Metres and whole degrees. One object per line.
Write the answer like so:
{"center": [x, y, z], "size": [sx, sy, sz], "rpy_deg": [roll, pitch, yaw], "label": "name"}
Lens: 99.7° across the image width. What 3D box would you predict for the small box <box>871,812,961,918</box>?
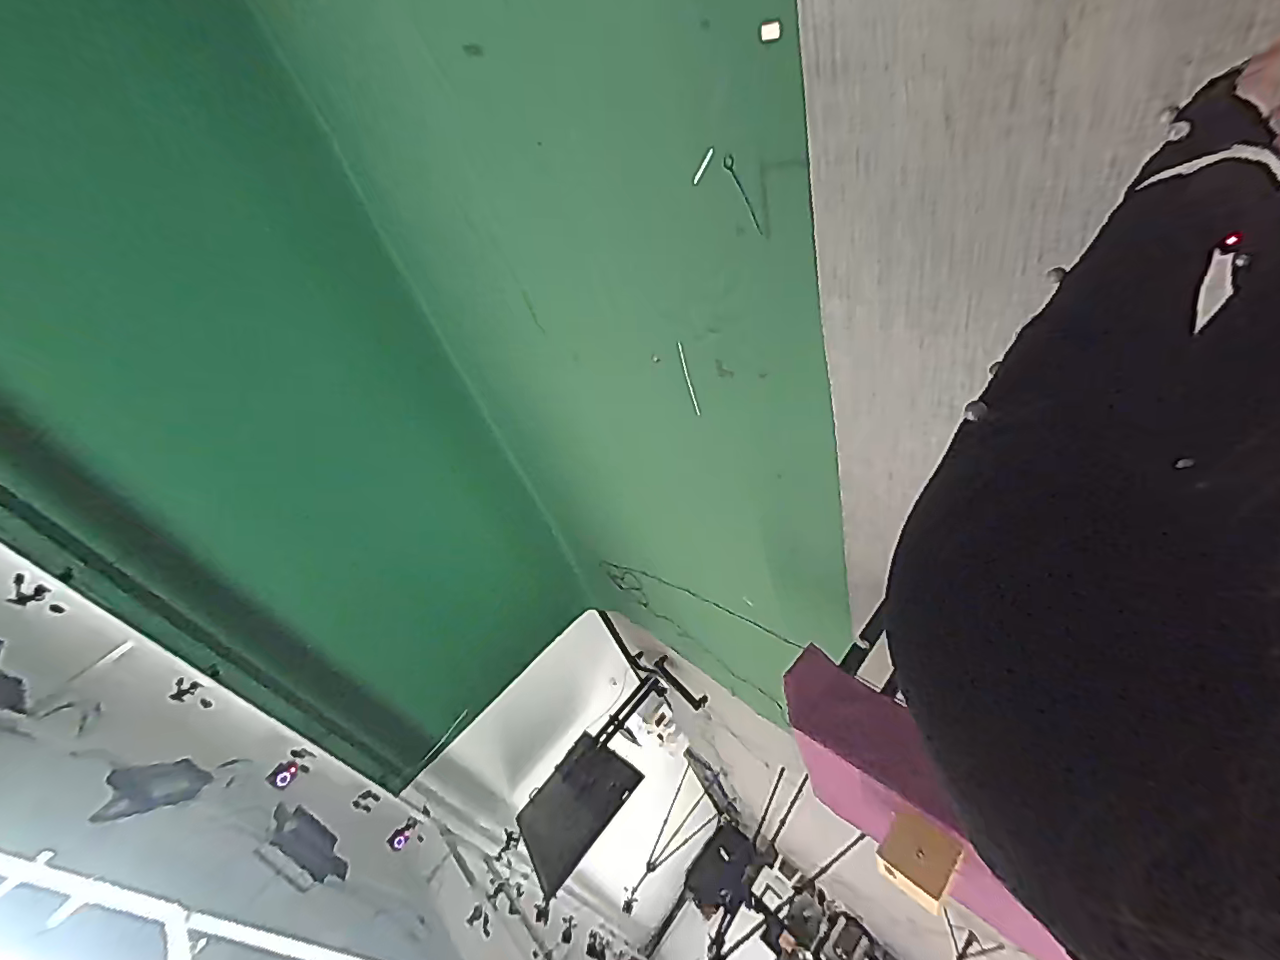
{"center": [0.792, 1.097, 1.560], "size": [0.179, 0.176, 0.168], "rpy_deg": [22, 146, 42], "label": "small box"}
